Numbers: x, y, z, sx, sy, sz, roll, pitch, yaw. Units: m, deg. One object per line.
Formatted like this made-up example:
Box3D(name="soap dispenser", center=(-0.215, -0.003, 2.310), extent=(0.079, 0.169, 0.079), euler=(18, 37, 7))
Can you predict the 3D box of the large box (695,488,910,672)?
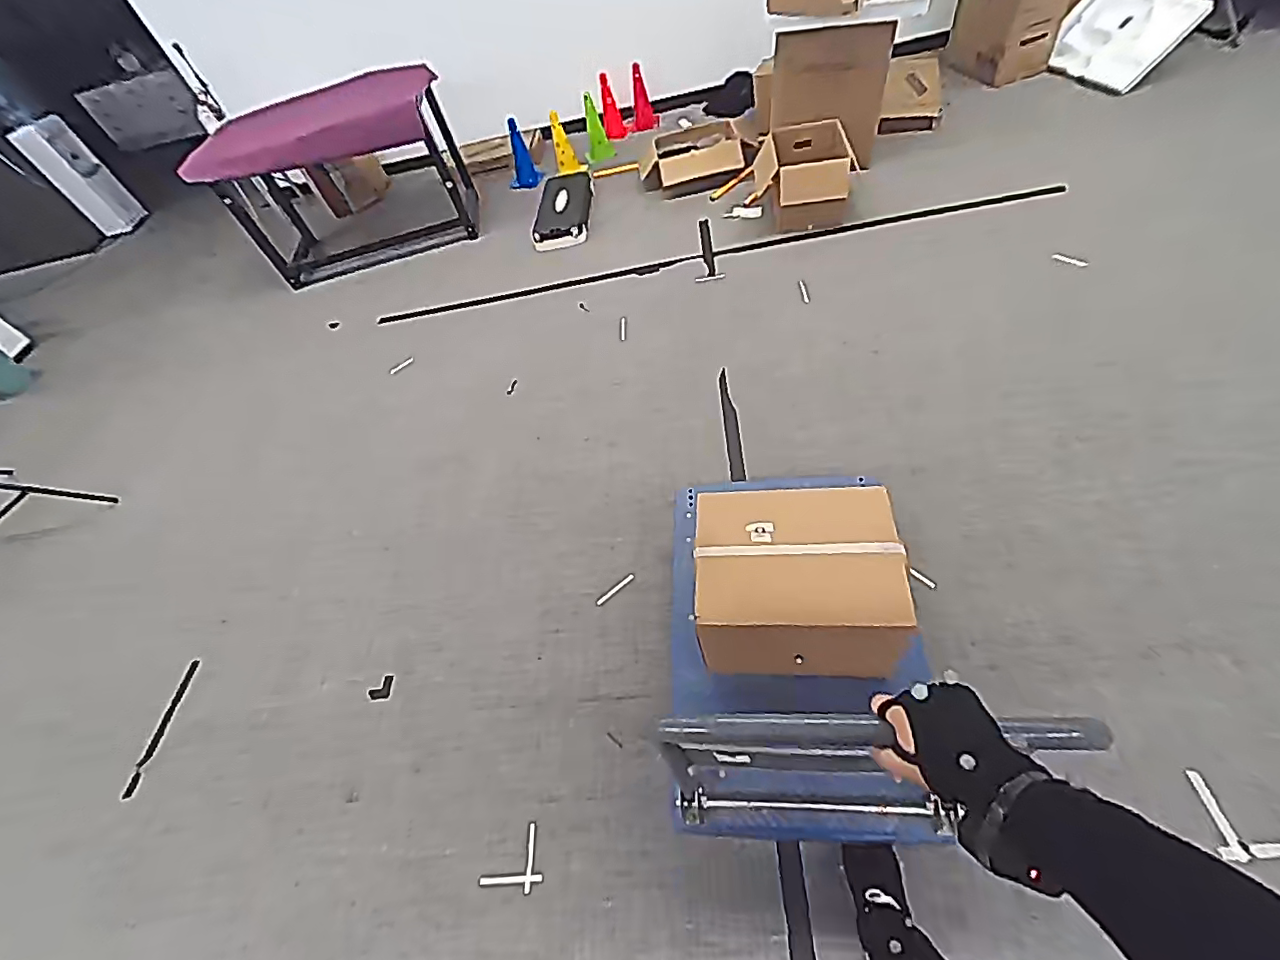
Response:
Box3D(name="large box", center=(0.345, 0.241, 1.233), extent=(0.408, 0.320, 0.320), euler=(-3, 52, 12))
